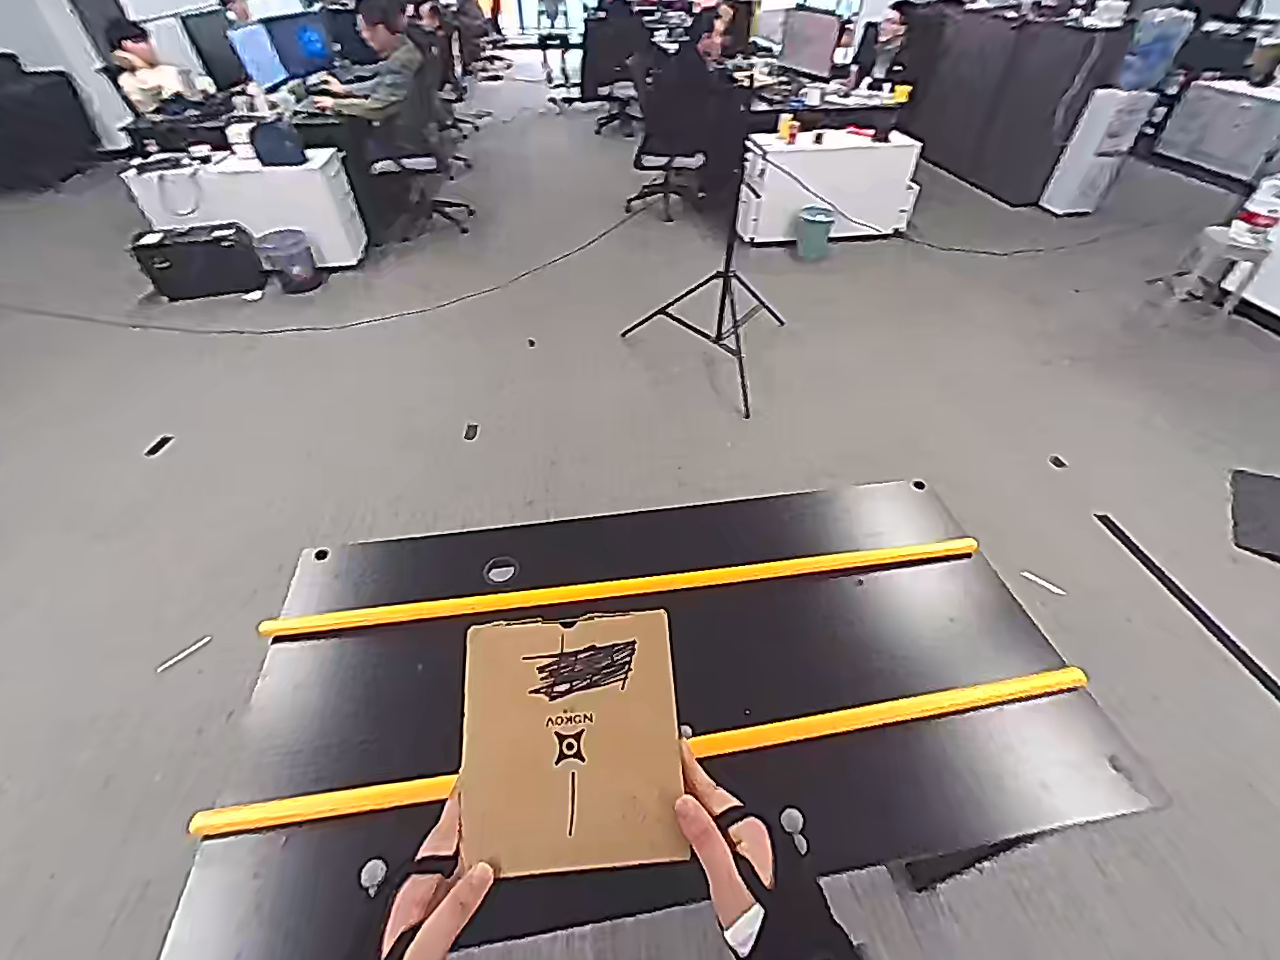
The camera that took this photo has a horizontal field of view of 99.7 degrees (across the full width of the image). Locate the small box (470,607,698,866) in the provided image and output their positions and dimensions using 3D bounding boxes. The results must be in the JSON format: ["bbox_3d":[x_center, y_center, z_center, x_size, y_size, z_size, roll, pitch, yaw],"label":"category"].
[{"bbox_3d":[-0.044,0.223,0.491,0.168,0.176,0.179,-4,66,-1],"label":"small box"}]
